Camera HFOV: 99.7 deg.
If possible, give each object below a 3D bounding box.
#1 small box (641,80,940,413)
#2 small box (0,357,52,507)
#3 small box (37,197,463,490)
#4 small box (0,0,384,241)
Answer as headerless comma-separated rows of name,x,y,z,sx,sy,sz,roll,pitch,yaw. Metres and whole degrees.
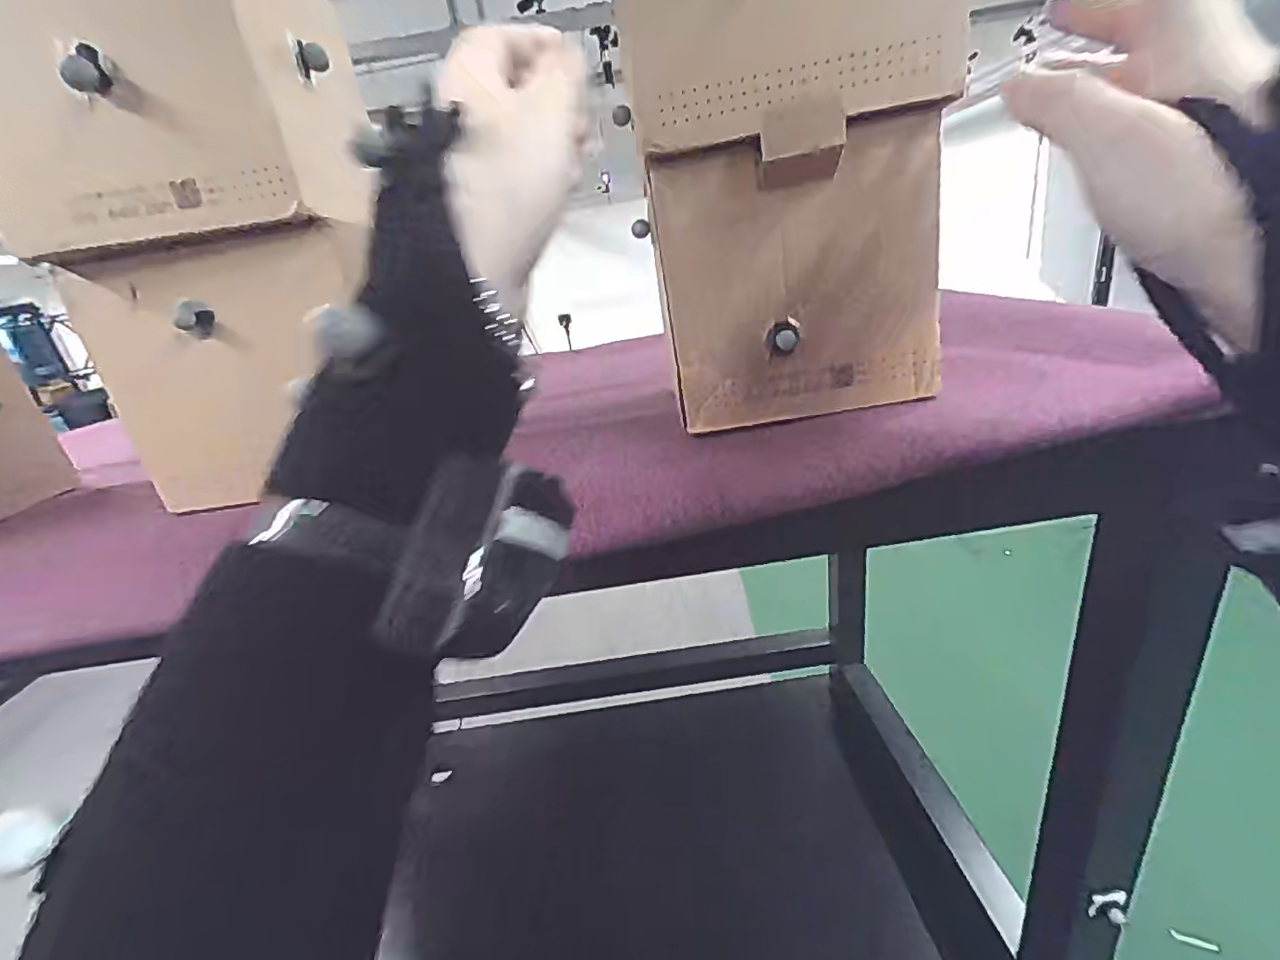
small box,0.095,-0.155,0.401,0.168,0.176,0.179,-9,21,4
small box,-0.603,-0.031,0.389,0.168,0.176,0.179,-11,24,-2
small box,-0.261,-0.101,0.415,0.179,0.176,0.168,-8,21,2
small box,-0.291,-0.246,0.346,0.168,0.176,0.179,-10,22,-3
